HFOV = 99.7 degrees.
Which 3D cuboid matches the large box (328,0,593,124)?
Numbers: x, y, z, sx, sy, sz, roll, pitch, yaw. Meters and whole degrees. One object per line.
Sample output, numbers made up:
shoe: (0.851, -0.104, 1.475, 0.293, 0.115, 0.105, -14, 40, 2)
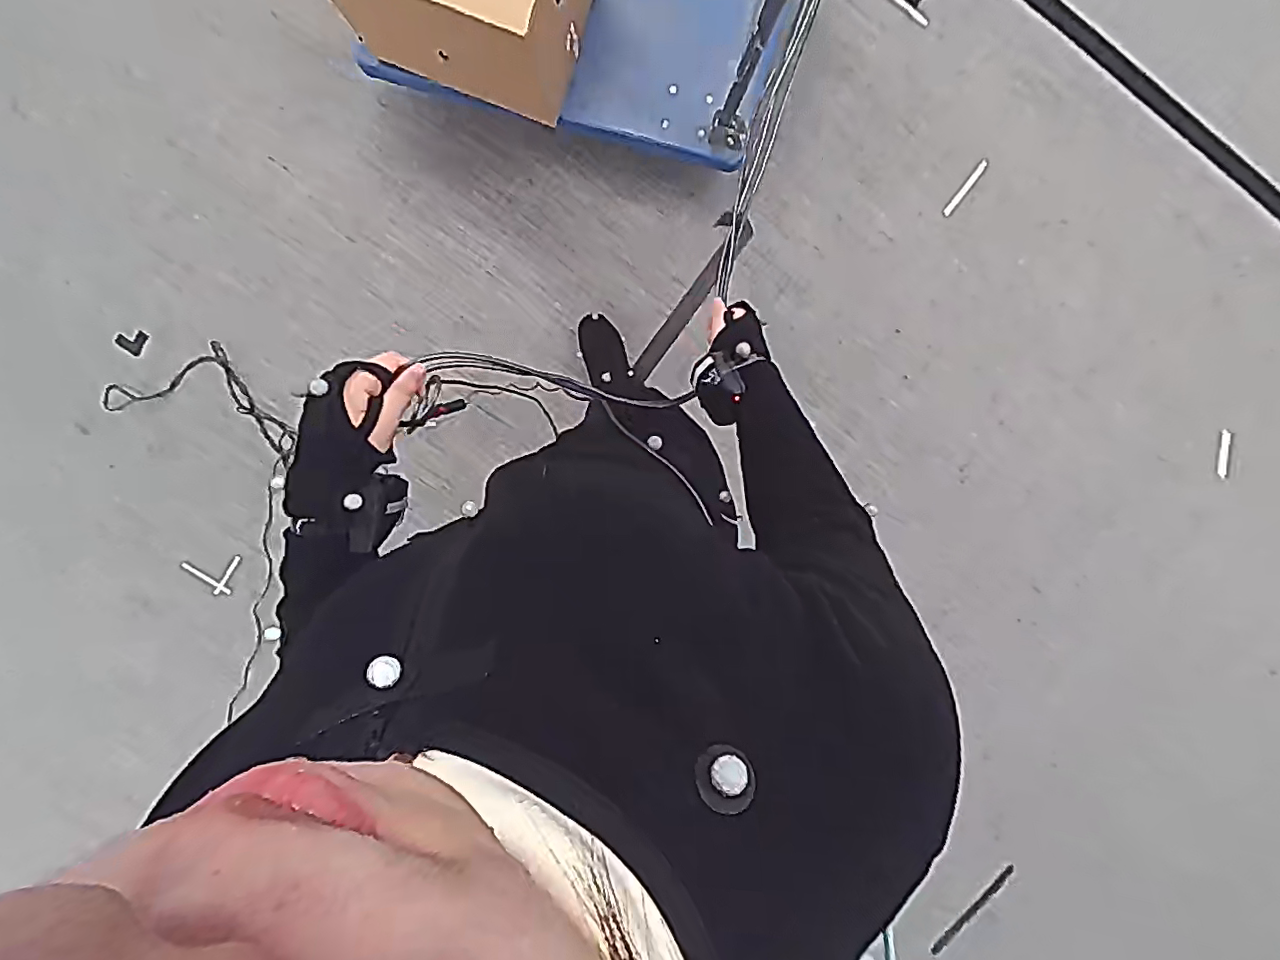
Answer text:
large box: (-0.317, -0.933, 0.981, 0.408, 0.320, 0.320, 19, 98, -2)
